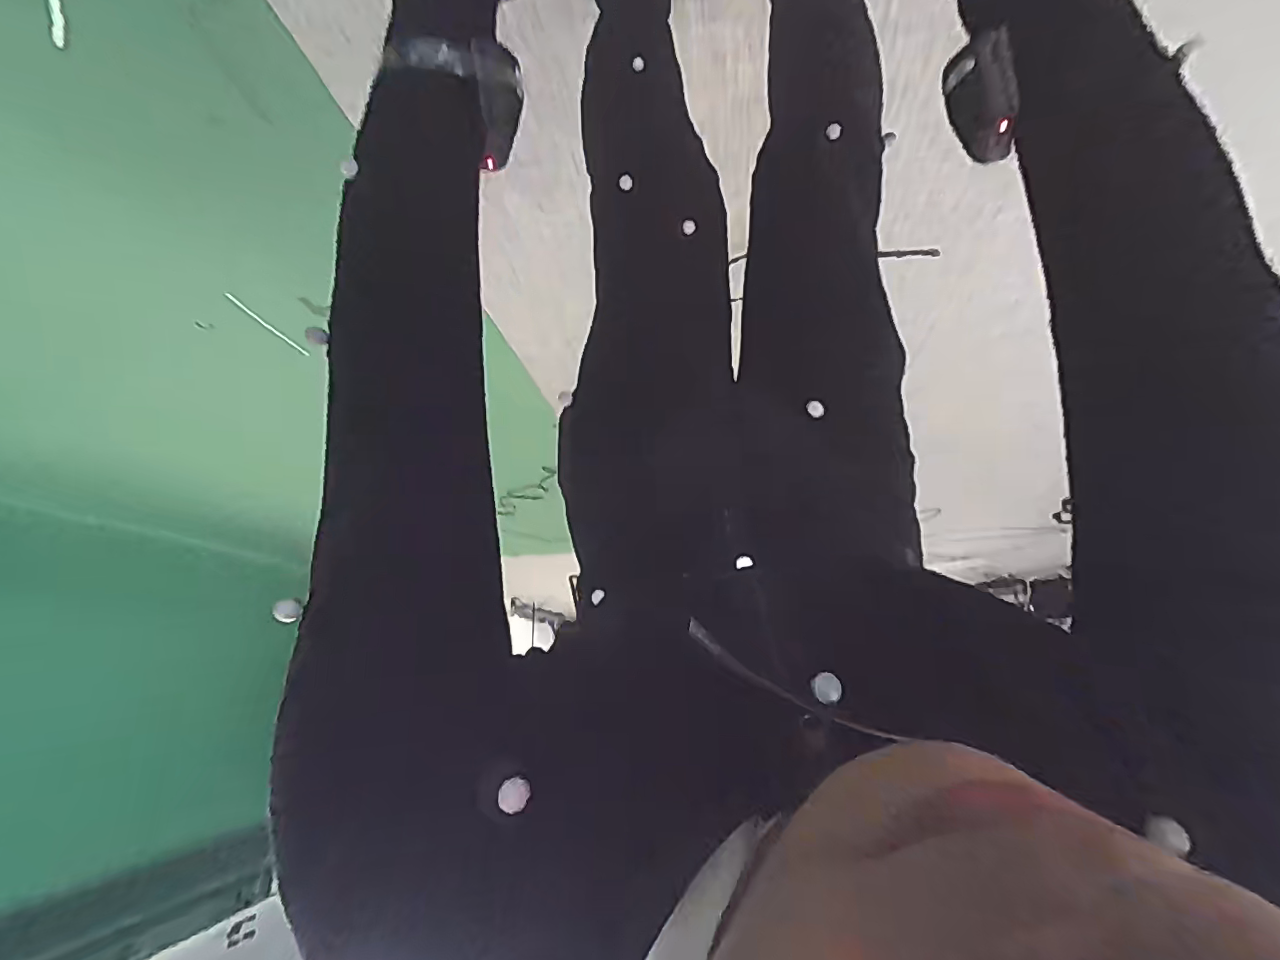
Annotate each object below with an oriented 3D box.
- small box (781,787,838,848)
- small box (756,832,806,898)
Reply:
[{"bbox_3d":[0.657,1.312,2.111,0.179,0.176,0.168,-3,161,5],"label":"small box"},{"bbox_3d":[0.539,1.481,2.090,0.168,0.176,0.179,-5,162,10],"label":"small box"}]
